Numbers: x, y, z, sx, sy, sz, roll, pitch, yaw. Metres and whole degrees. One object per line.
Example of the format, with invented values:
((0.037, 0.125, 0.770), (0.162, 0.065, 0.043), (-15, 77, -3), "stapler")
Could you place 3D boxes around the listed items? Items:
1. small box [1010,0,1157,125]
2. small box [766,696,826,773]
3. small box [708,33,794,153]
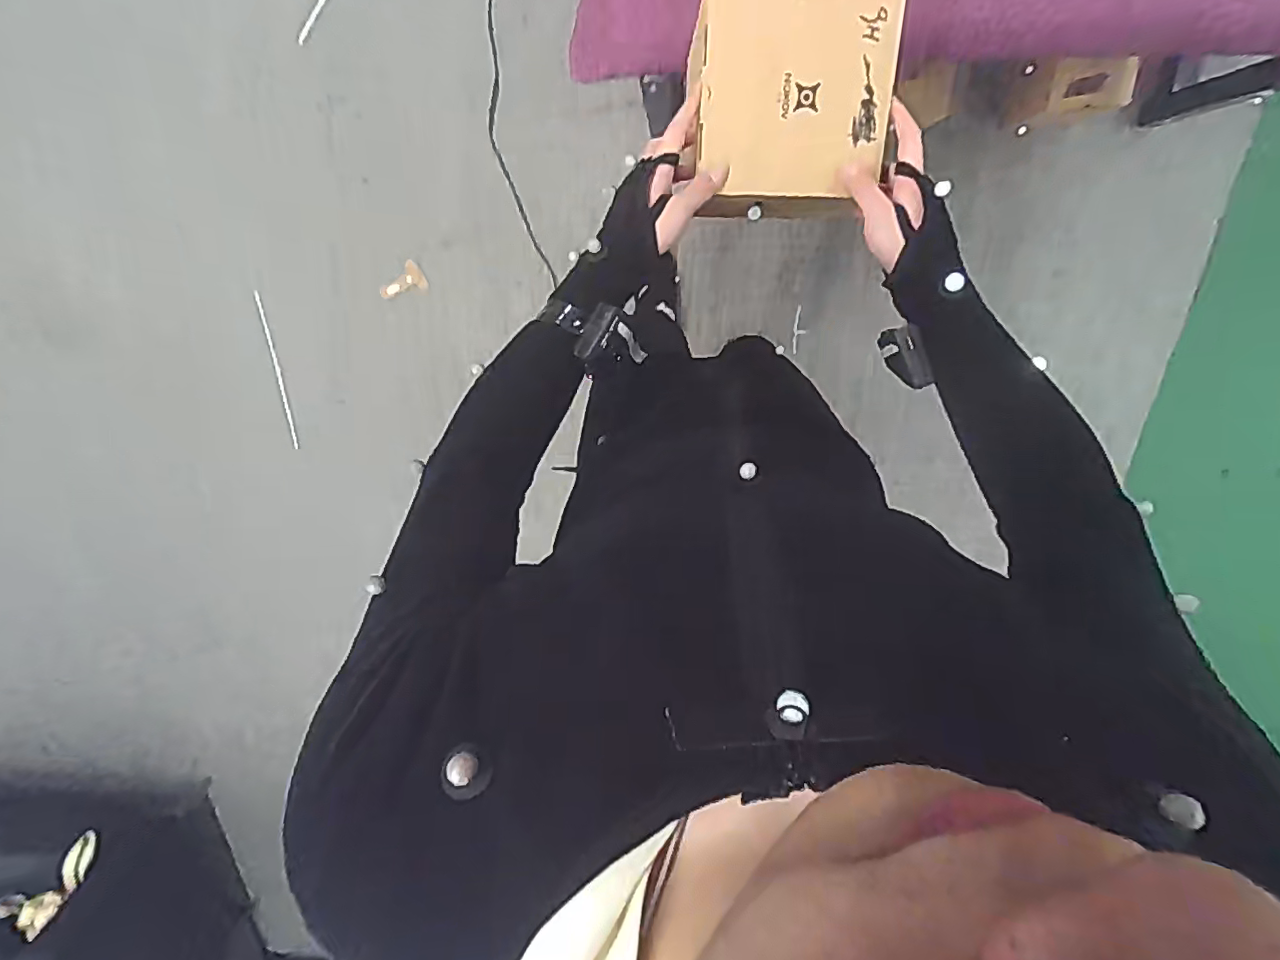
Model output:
((0.930, -0.880, 1.156), (0.168, 0.176, 0.179), (-2, 111, 4), "small box")
((0.537, 0.887, 1.886), (0.168, 0.176, 0.179), (0, 112, 3), "small box")
((0.246, -0.853, 1.215), (0.168, 0.176, 0.179), (-7, 111, 7), "small box")
